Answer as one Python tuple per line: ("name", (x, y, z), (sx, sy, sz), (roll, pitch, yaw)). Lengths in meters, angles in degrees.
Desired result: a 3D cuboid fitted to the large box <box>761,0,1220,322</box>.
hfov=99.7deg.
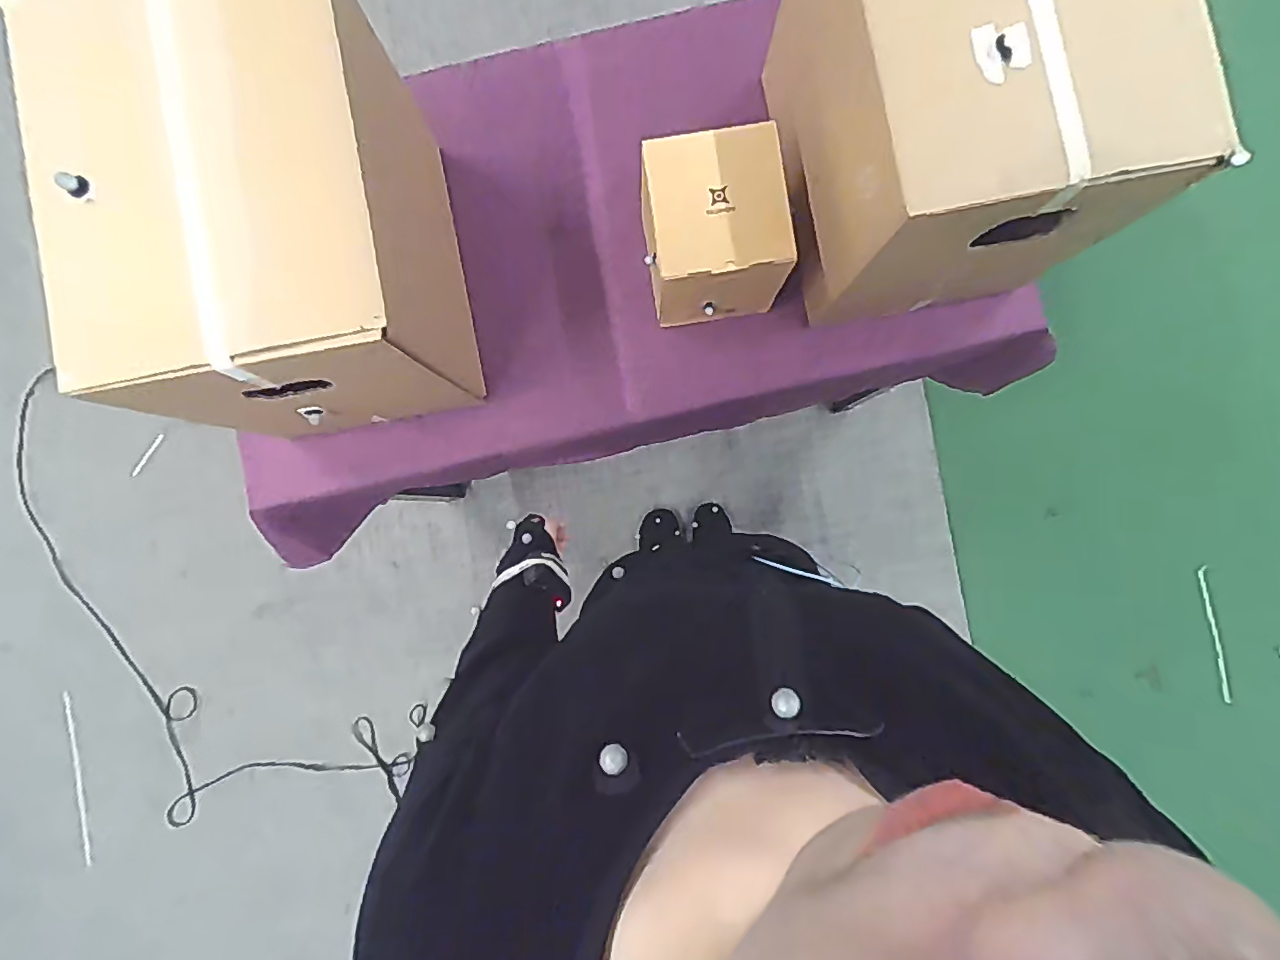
("large box", (0.368, -0.460, 0.670), (0.320, 0.320, 0.408), (-10, 88, 0))
